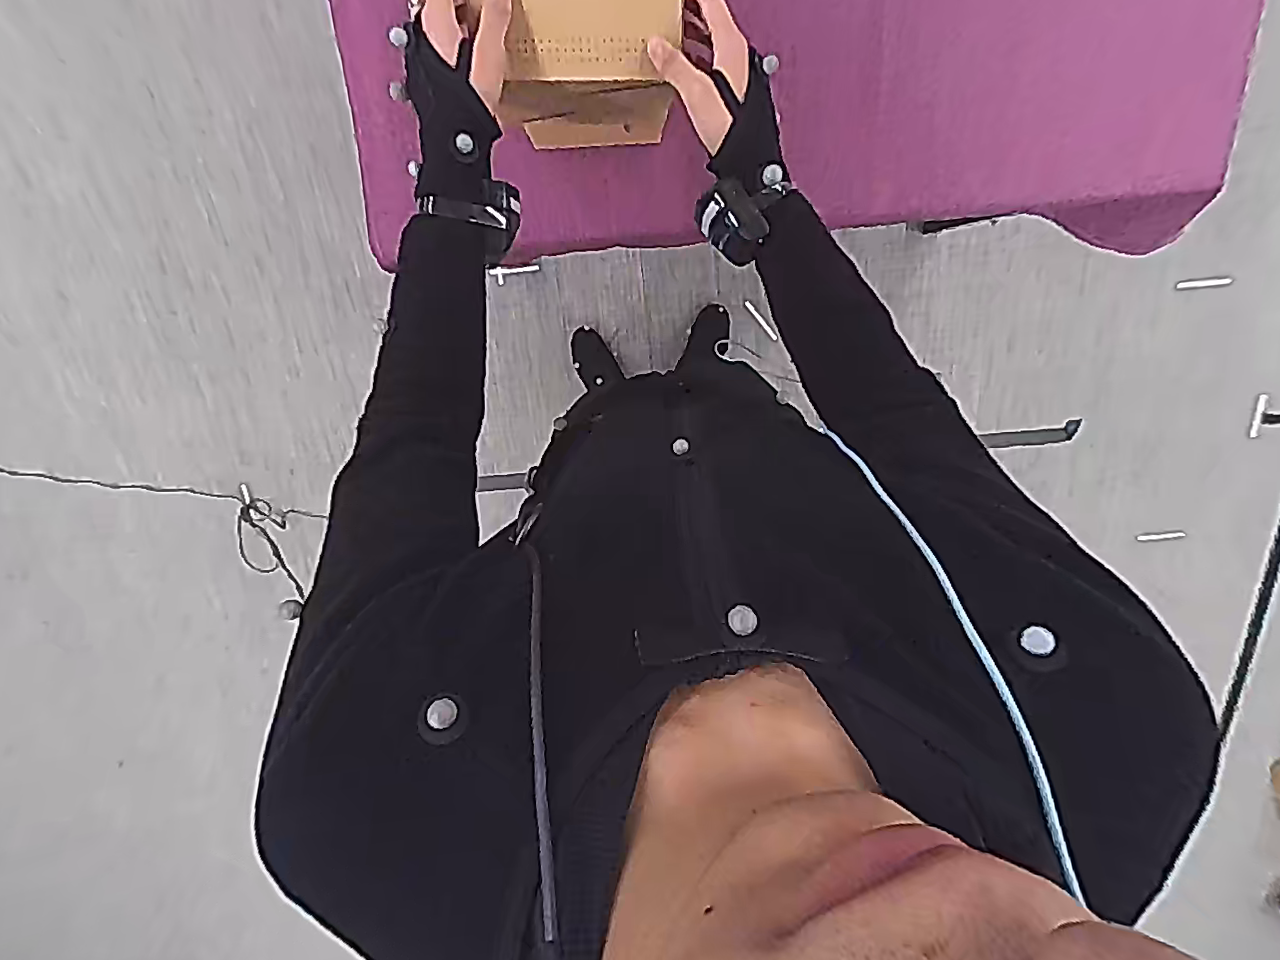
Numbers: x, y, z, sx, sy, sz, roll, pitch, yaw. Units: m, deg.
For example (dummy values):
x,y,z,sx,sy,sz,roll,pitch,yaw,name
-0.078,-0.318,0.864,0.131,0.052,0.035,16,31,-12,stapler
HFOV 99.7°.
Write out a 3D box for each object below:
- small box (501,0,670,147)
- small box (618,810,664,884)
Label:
x,y,z,sx,sy,sz,roll,pitch,yaw,name
-0.061,-0.511,0.642,0.179,0.176,0.168,-4,108,-1,small box
0.002,1.380,2.046,0.168,0.176,0.179,-2,109,-1,small box
